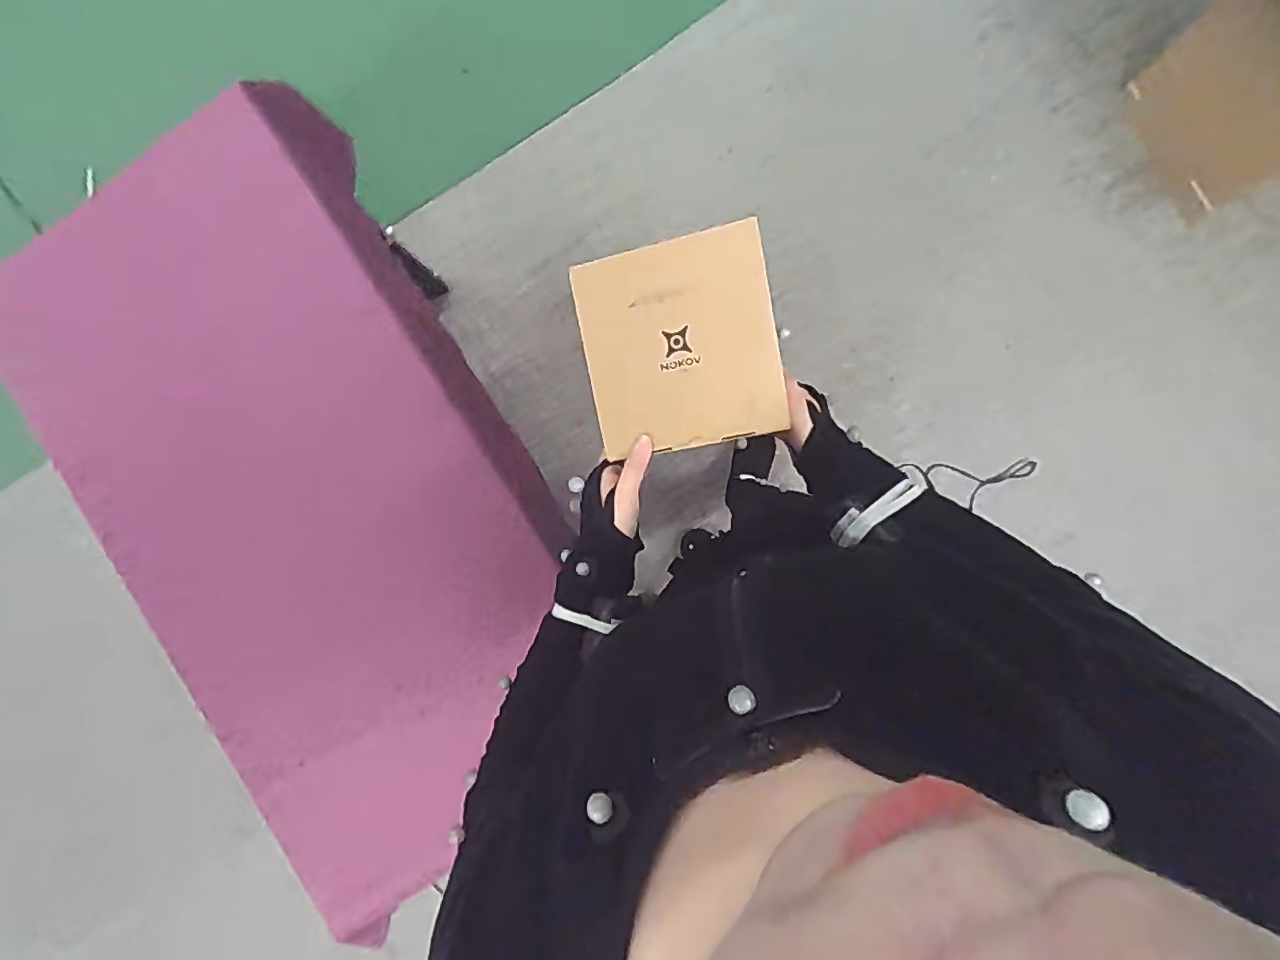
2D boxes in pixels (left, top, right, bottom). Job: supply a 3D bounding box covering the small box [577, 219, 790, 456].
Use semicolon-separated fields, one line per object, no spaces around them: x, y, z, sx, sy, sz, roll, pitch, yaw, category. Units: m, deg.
0.052;-0.129;0.540;0.168;0.176;0.179;-8;96;12;small box
